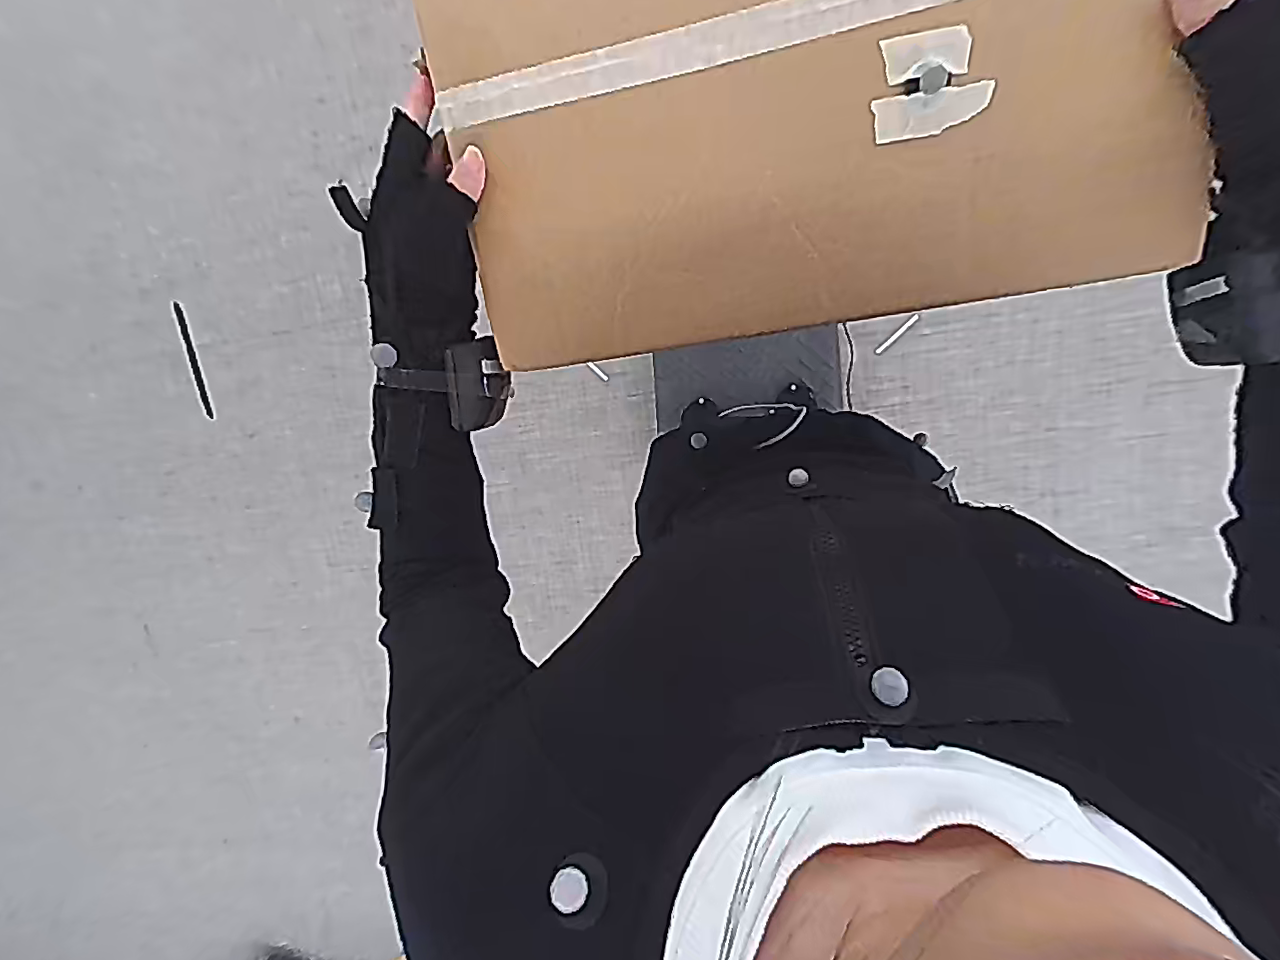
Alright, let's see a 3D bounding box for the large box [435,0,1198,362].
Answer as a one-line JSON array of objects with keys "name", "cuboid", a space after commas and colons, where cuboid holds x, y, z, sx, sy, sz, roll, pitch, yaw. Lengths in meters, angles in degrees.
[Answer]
[{"name": "large box", "cuboid": [0.100, -0.295, 0.440, 0.408, 0.320, 0.320, -7, 107, 10]}]
